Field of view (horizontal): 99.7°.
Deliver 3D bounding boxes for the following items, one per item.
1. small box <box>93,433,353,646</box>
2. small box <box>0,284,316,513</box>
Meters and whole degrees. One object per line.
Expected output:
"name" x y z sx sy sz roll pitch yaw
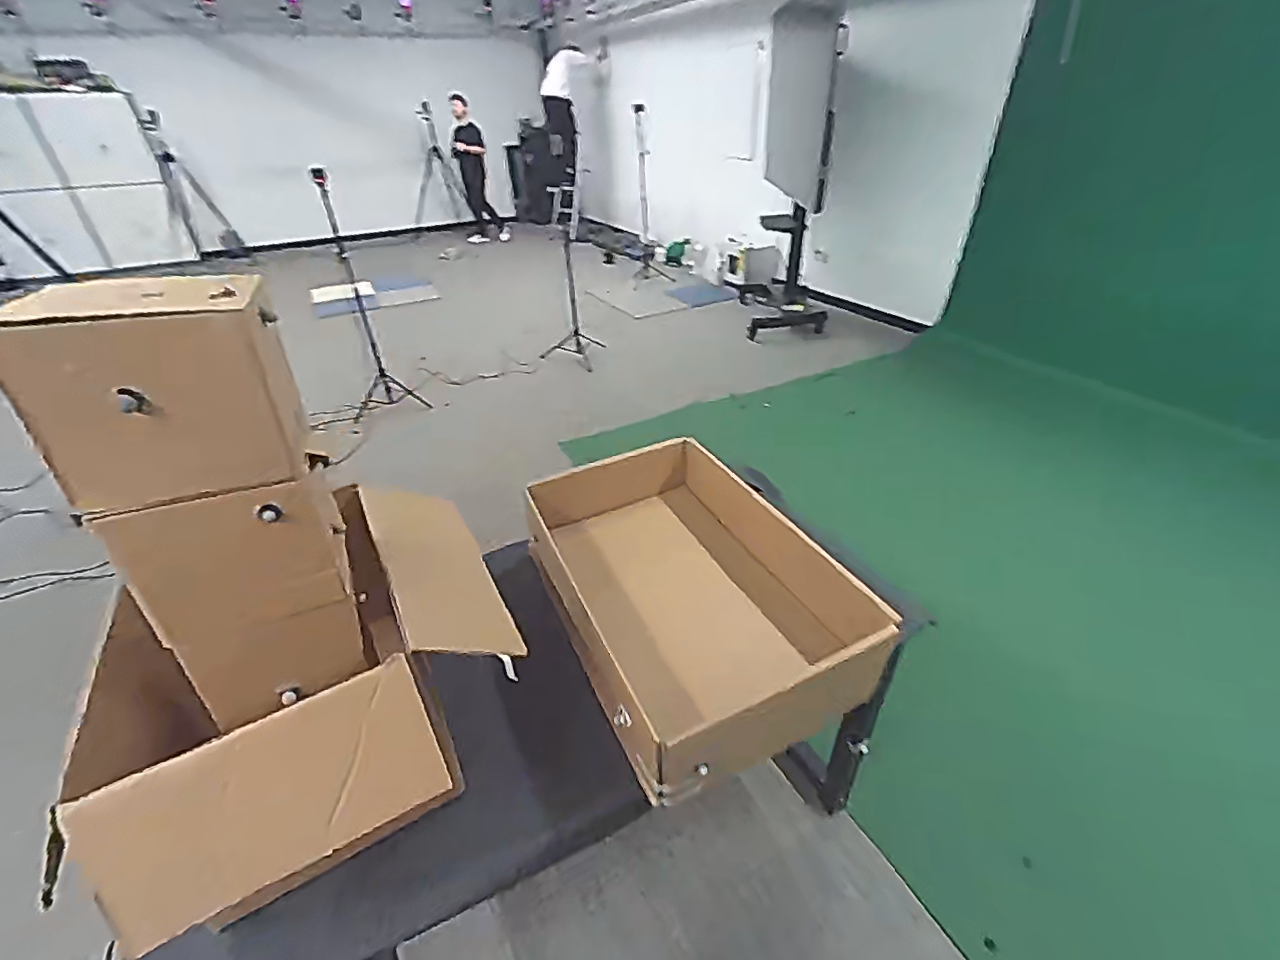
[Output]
"small box" -0.445 0.056 0.612 0.179 0.176 0.168 -14 34 -24
"small box" -0.444 -0.086 0.531 0.179 0.176 0.168 -13 33 -23
